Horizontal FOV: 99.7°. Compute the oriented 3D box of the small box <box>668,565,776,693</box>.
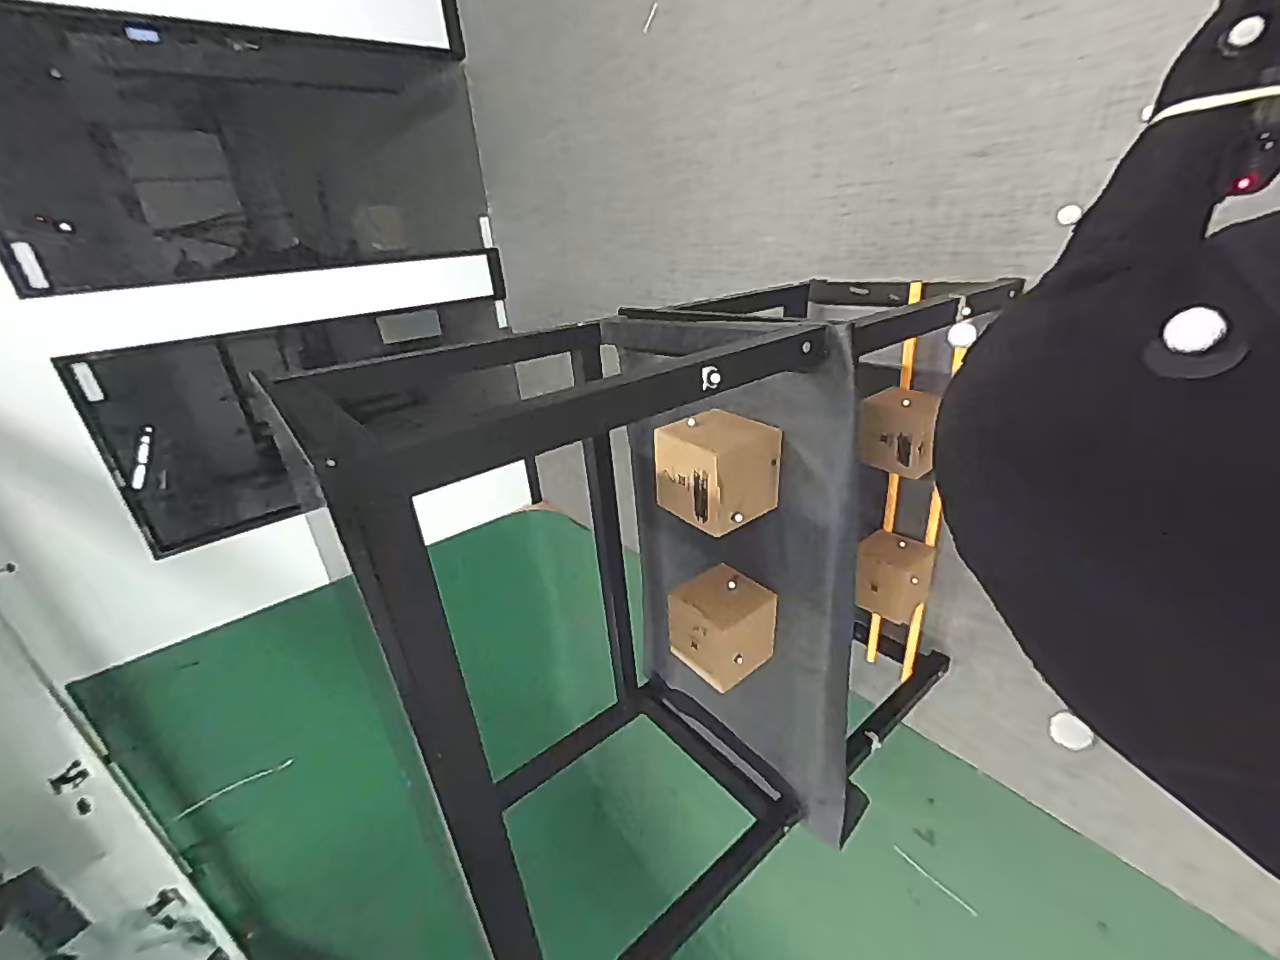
[{"bbox_3d":[0.180,0.319,1.187,0.168,0.176,0.179,27,130,45],"label":"small box"}]

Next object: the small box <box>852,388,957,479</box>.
[{"bbox_3d":[0.671,-0.126,1.371,0.179,0.176,0.168,27,130,45],"label":"small box"}]
